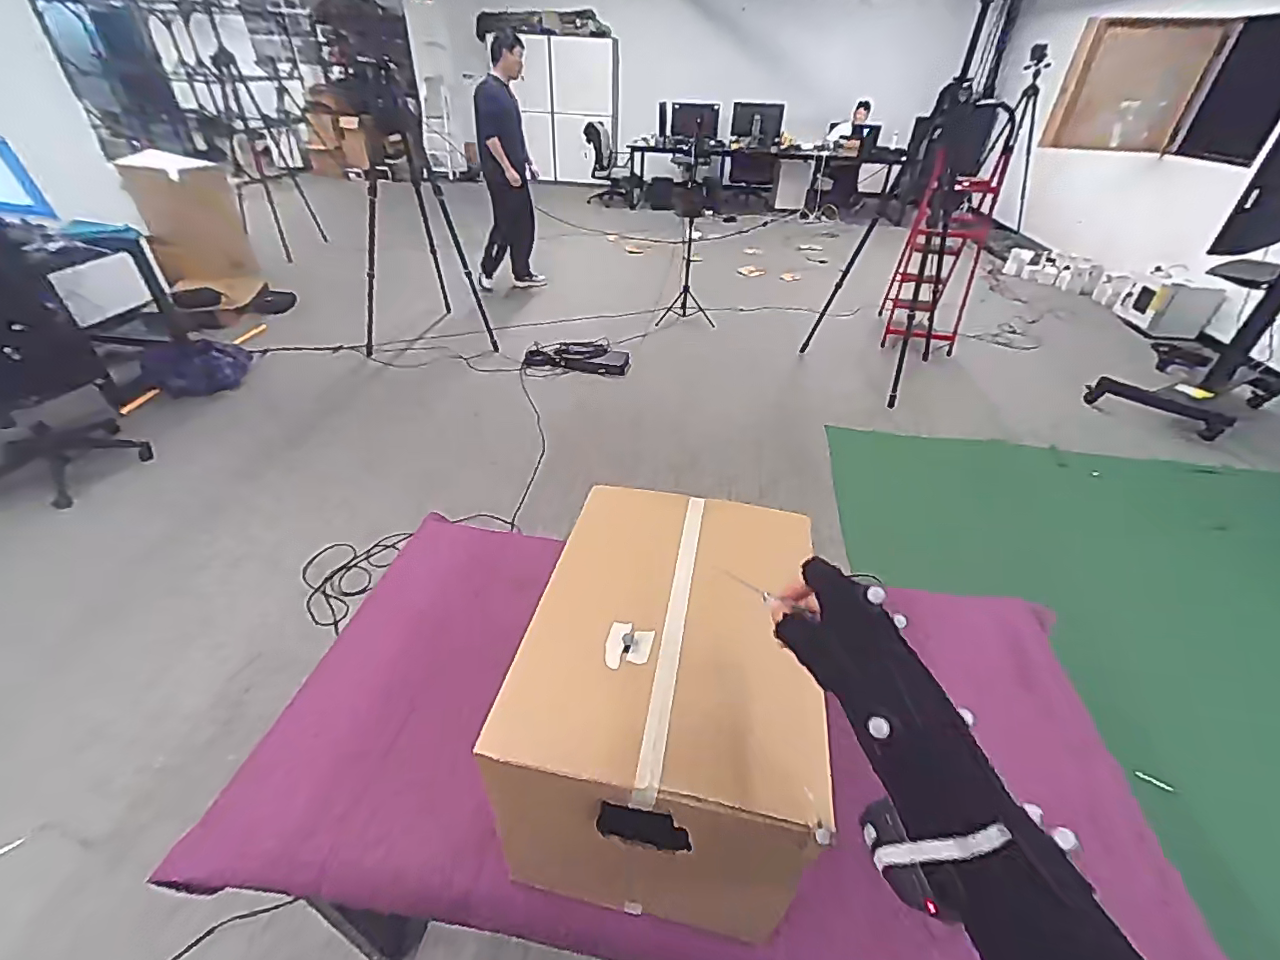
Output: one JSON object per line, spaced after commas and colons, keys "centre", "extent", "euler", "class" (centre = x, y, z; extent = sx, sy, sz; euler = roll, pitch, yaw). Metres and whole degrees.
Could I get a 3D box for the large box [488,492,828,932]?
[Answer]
{"centre": [0.037, 0.274, 0.716], "extent": [0.320, 0.320, 0.408], "euler": [9, 38, 8], "class": "large box"}
